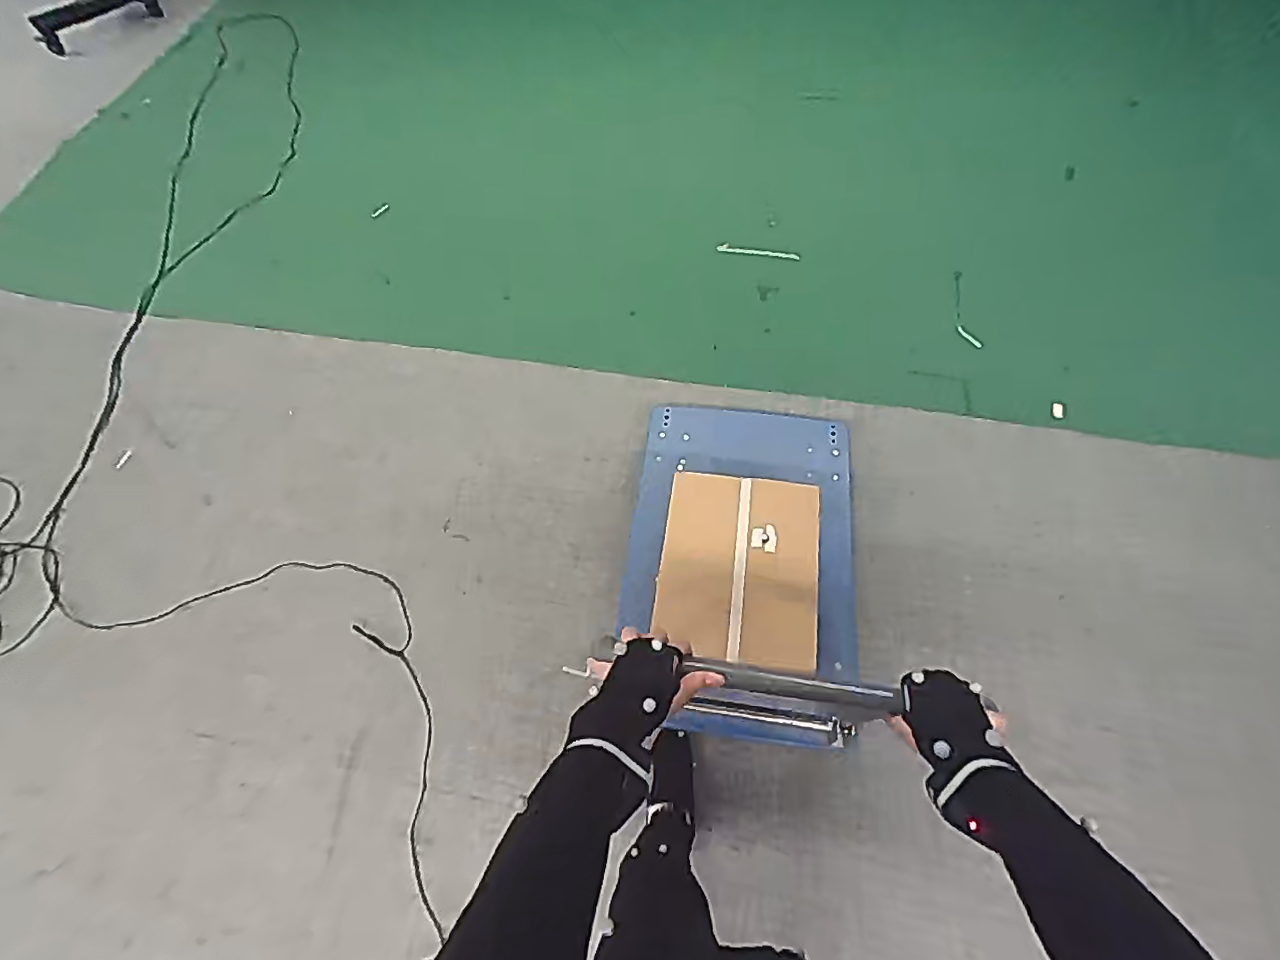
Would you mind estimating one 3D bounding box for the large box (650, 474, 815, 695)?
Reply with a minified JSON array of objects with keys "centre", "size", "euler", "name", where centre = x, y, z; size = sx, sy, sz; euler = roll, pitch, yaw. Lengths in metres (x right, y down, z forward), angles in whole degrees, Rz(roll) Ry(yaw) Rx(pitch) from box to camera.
[{"centre":[0.204,0.244,1.225],"size":[0.320,0.320,0.408],"euler":[7,63,6],"name":"large box"}]
